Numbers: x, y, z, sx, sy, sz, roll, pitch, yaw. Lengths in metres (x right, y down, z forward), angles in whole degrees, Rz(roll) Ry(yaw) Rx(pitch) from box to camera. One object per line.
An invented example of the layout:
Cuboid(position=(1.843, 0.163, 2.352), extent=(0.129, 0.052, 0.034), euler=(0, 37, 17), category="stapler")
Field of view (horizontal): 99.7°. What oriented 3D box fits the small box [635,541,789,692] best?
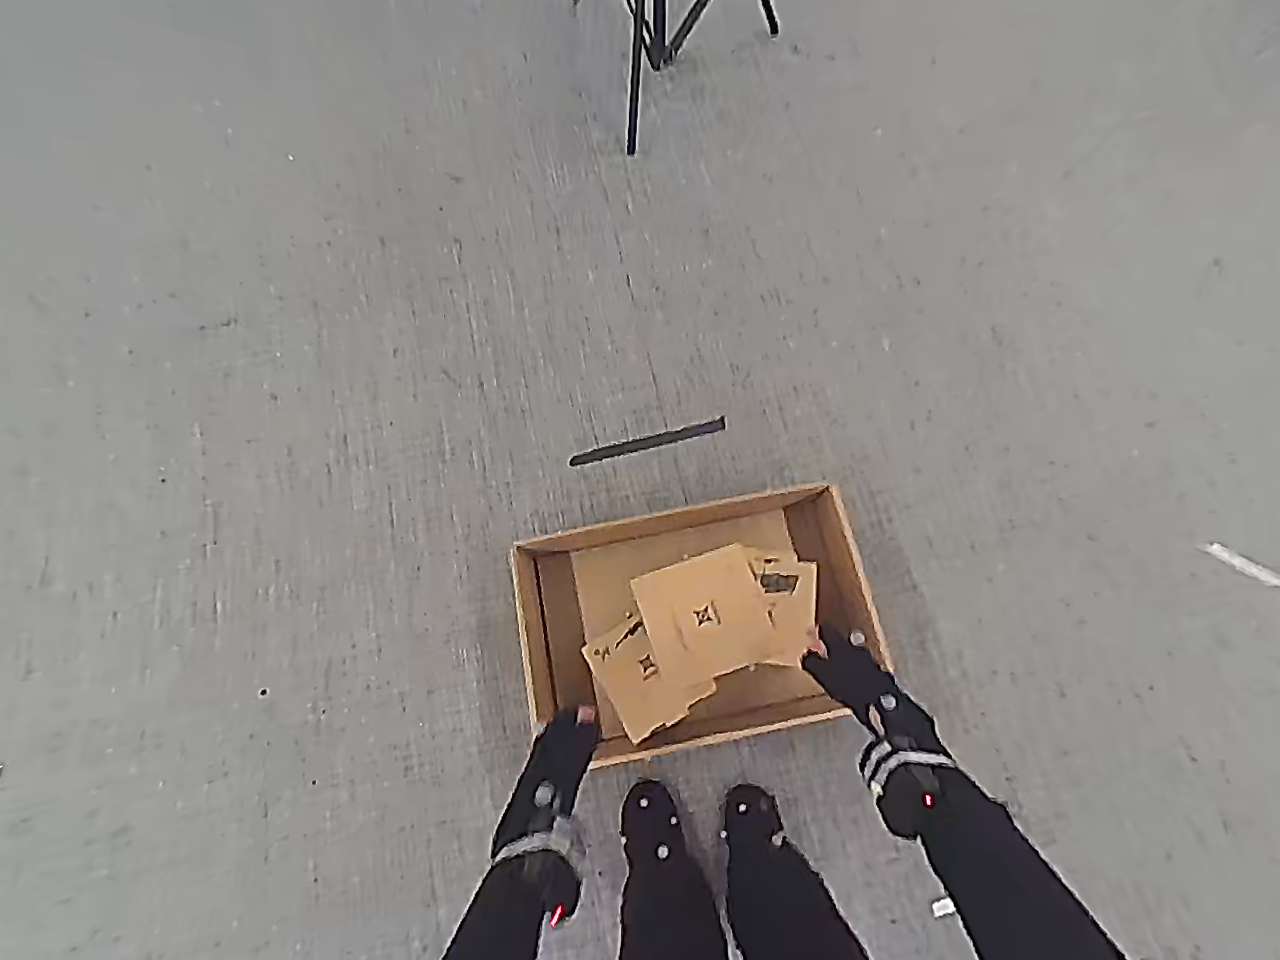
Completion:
Cuboid(position=(0.101, 0.208, 0.829), extent=(0.179, 0.176, 0.168), euler=(-19, 73, -2), category="small box")
